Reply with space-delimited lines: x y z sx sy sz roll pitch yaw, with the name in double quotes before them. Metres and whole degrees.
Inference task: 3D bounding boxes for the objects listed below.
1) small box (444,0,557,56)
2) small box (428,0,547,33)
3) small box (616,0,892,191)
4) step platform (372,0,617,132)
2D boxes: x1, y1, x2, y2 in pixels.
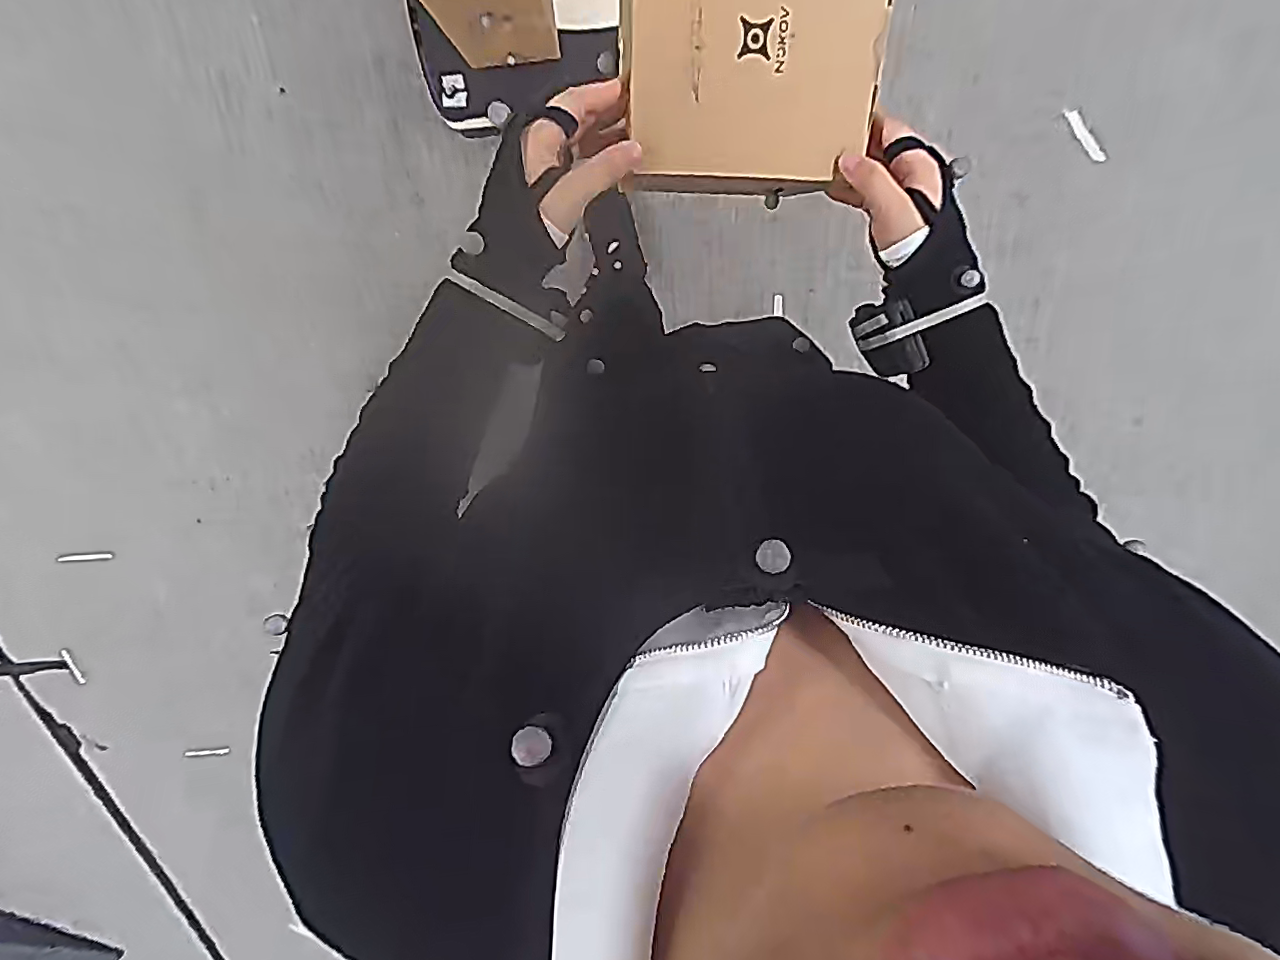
"small box" -0.232 -0.808 0.880 0.168 0.176 0.179 -6 114 0
"small box" -0.228 -0.747 0.728 0.168 0.176 0.179 -7 114 1
"small box" 0.073 -0.331 0.429 0.179 0.176 0.168 -1 113 -5
"step platform" -0.063 -0.767 0.867 0.684 0.204 0.286 -6 113 0
